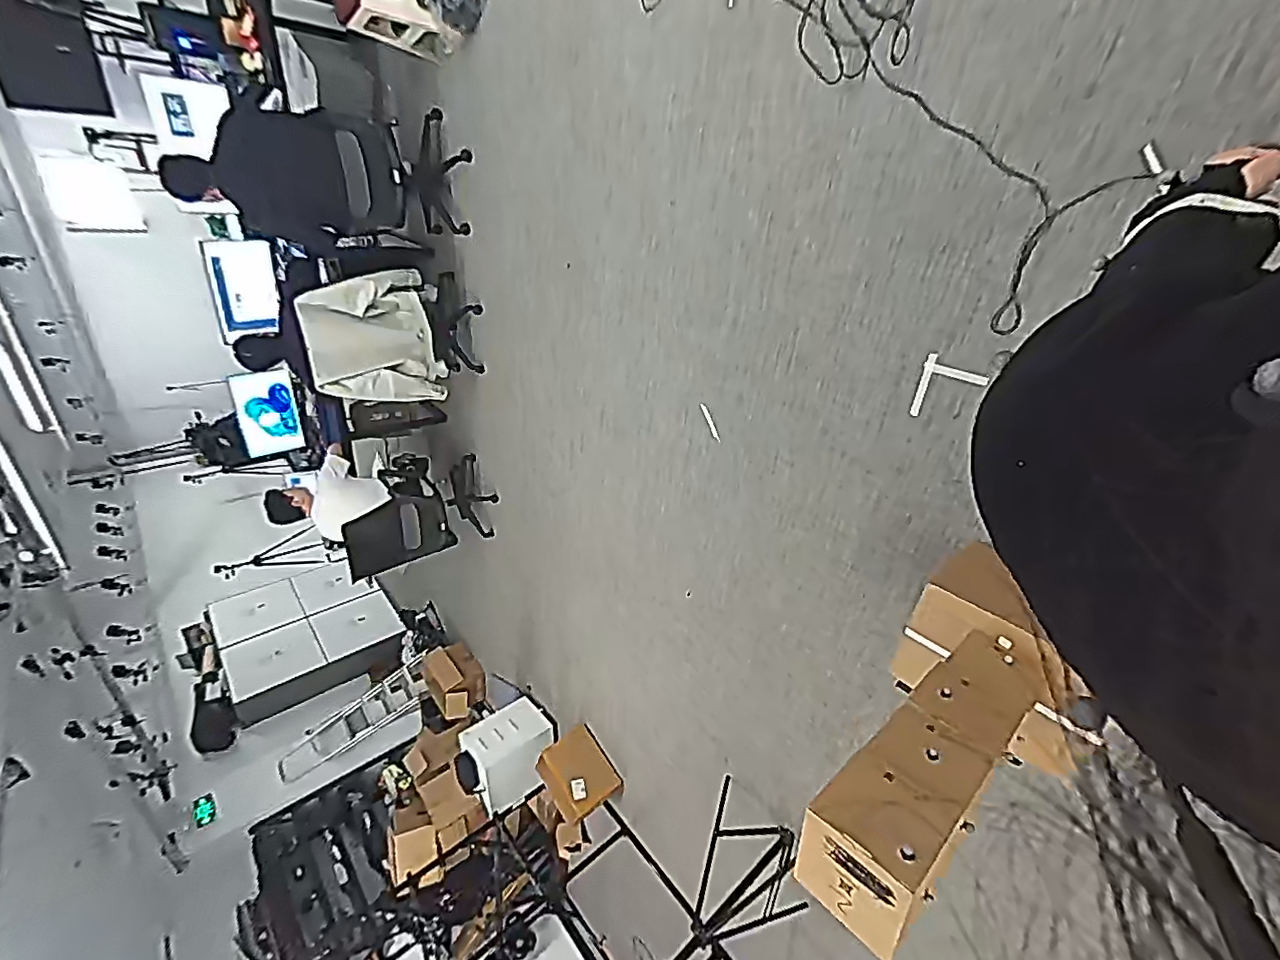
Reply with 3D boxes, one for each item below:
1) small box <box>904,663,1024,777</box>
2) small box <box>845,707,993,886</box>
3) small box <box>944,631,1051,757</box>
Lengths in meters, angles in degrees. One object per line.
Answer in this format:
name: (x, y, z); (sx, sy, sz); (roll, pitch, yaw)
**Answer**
small box: (0.615, 0.497, 1.058); (0.168, 0.176, 0.179); (30, 128, 41)
small box: (0.494, 0.545, 0.957); (0.168, 0.176, 0.179); (26, 124, 44)
small box: (0.739, 0.461, 1.157); (0.168, 0.176, 0.179); (30, 127, 40)
